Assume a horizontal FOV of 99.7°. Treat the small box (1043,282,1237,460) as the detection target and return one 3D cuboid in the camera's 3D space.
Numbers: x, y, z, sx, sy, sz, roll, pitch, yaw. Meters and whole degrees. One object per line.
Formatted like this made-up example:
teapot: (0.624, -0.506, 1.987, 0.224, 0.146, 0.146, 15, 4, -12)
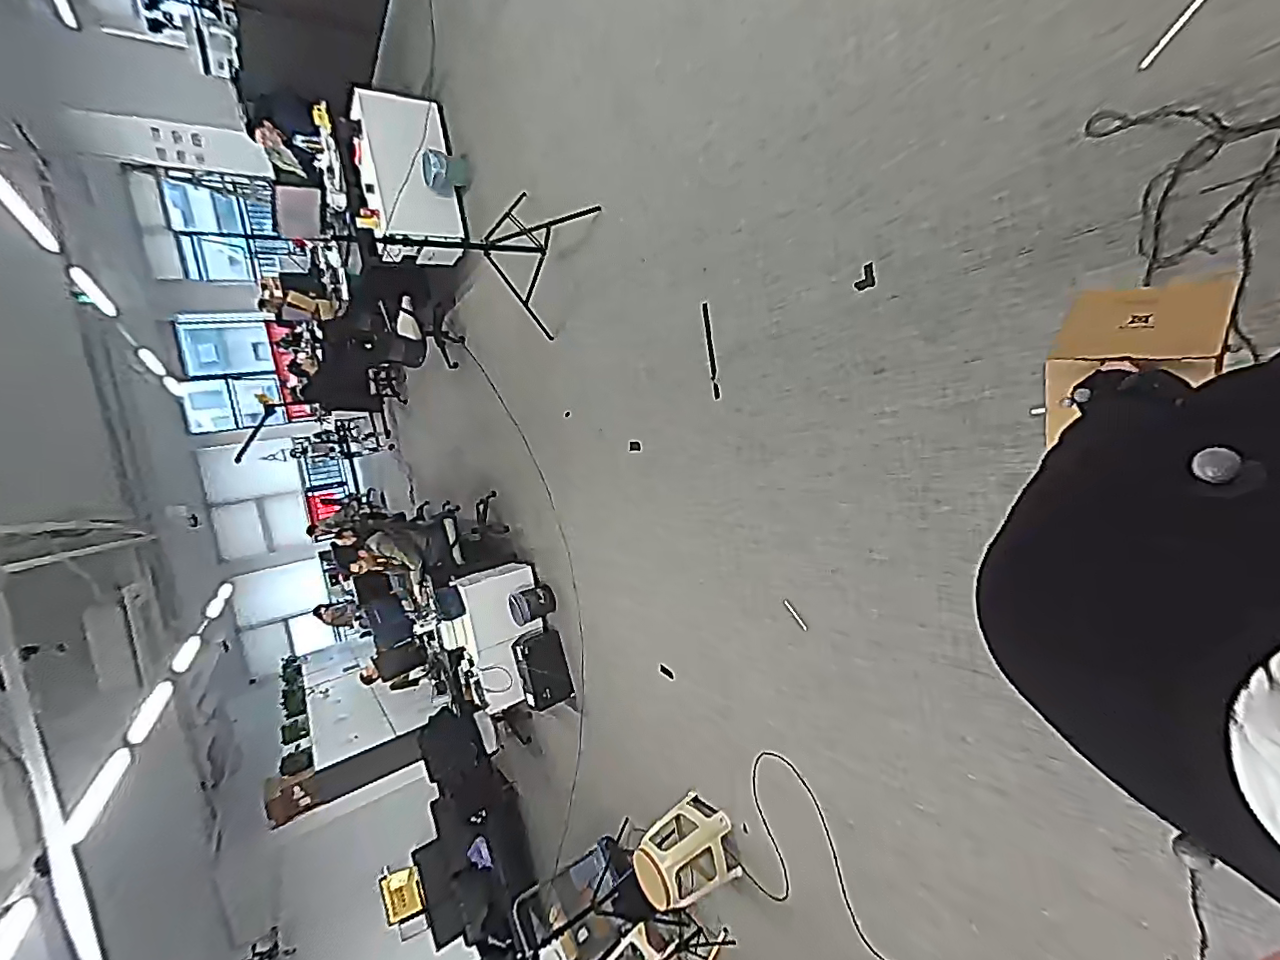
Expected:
small box: (0.692, -0.148, 0.757, 0.168, 0.179, 0.176, 13, 143, 46)
